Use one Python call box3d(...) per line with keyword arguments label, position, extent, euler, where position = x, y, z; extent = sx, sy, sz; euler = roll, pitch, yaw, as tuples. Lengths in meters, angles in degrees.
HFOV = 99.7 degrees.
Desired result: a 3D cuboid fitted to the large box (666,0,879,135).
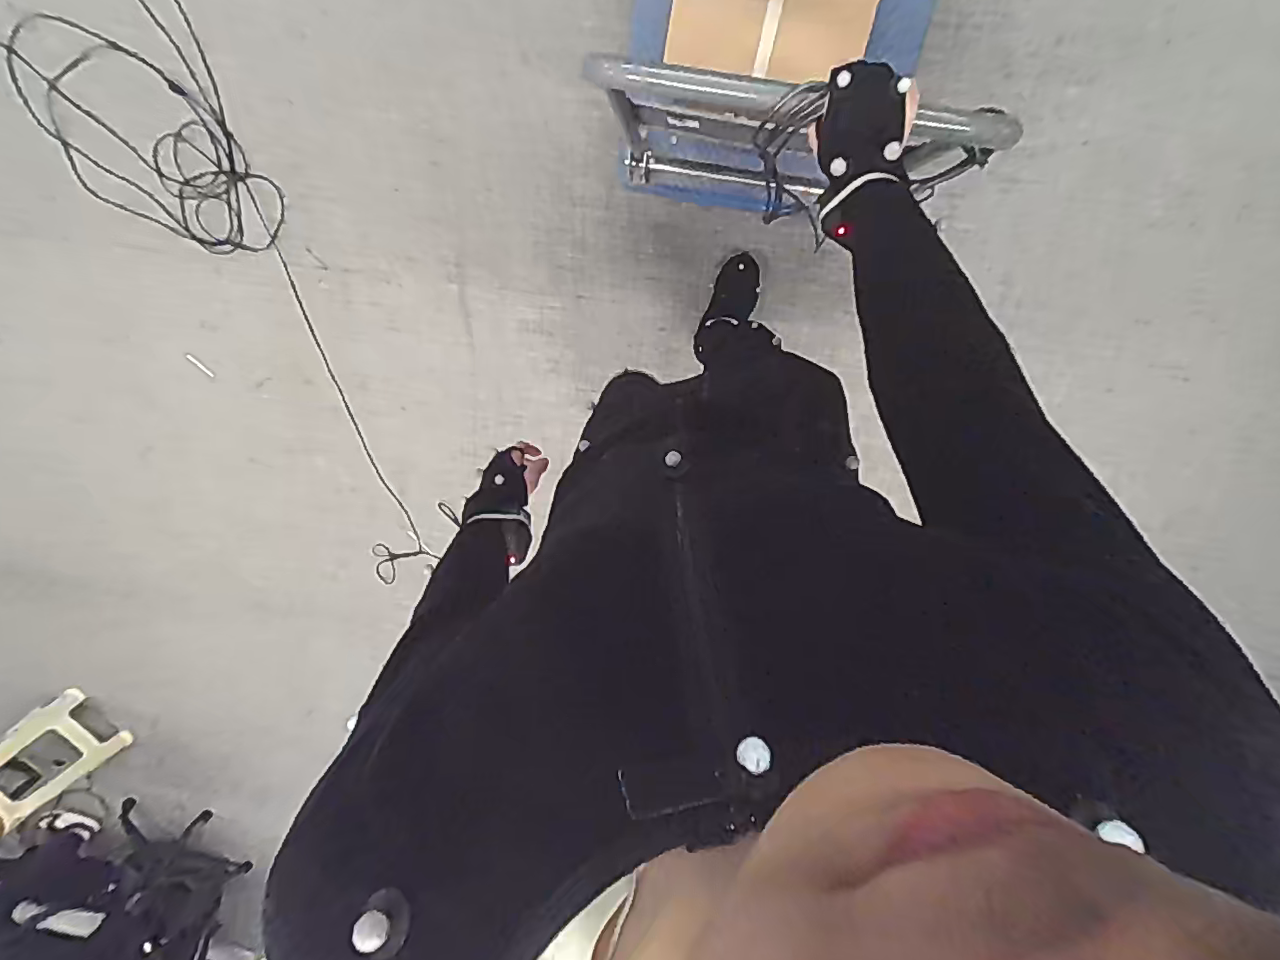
box3d(label="large box", position=(0.241, -0.876, 0.929), extent=(0.320, 0.320, 0.408), euler=(13, 112, 1))
